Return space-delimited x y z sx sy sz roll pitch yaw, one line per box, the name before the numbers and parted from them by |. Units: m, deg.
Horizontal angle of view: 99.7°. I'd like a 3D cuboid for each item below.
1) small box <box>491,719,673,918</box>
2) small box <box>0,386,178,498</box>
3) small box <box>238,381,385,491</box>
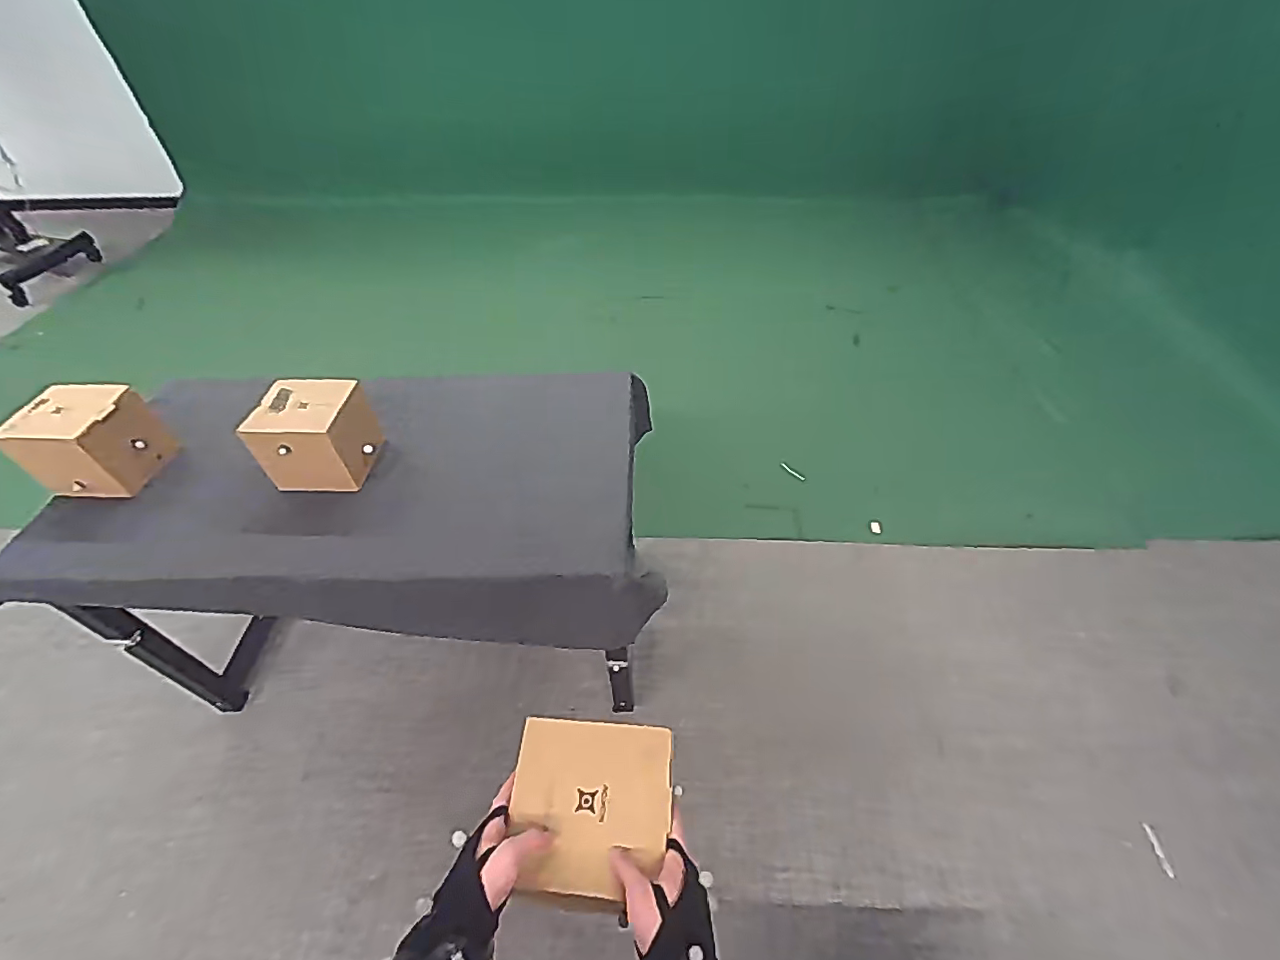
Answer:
small box | -0.052 0.398 0.634 0.179 0.176 0.168 1 47 4
small box | -1.139 -0.076 1.132 0.179 0.176 0.168 2 47 2
small box | -0.671 -0.090 1.129 0.179 0.176 0.168 1 47 2
